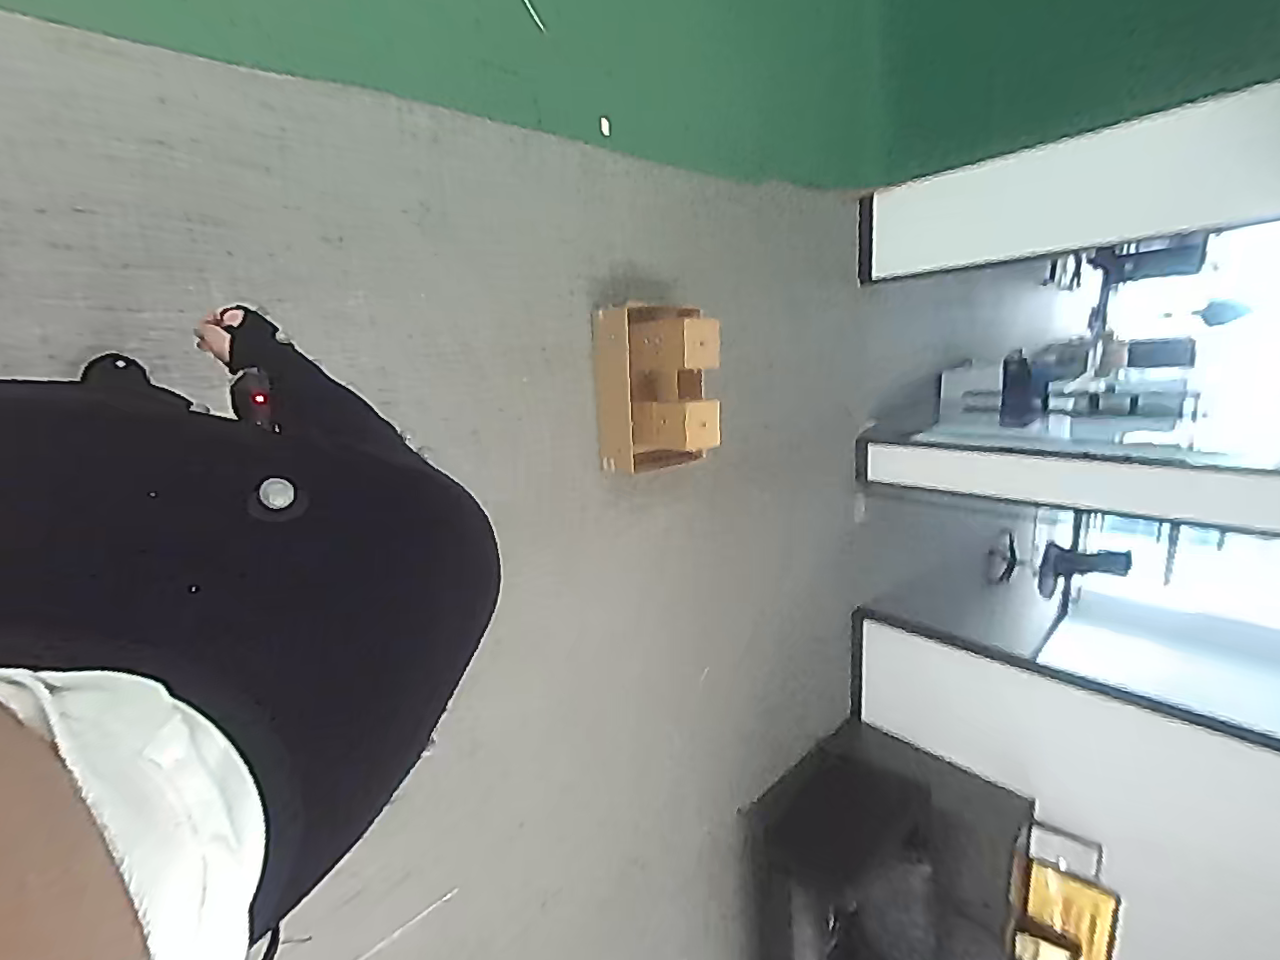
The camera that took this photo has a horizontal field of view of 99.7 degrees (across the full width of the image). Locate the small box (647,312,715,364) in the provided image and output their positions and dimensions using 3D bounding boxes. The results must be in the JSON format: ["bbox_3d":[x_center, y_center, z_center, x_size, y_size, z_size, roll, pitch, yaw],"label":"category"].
[{"bbox_3d":[0.143,-0.496,1.898,0.179,0.176,0.168,-12,106,-40],"label":"small box"}]

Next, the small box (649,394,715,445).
[{"bbox_3d":[0.151,-0.225,1.960,0.179,0.176,0.168,-12,106,-40],"label":"small box"}]

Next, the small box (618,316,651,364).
[{"bbox_3d":[0.036,-0.520,2.018,0.179,0.176,0.168,-12,106,-41],"label":"small box"}]
